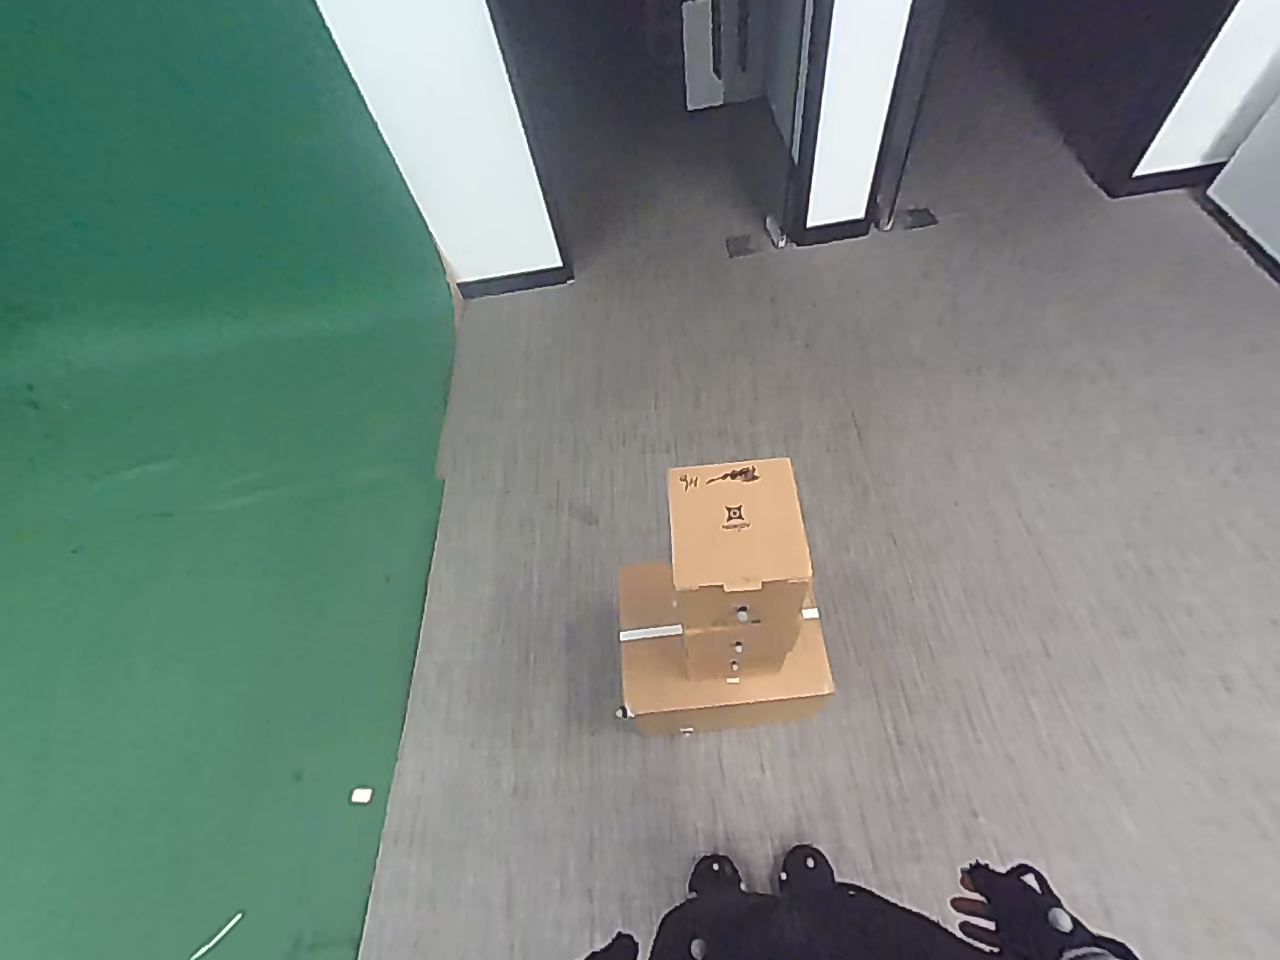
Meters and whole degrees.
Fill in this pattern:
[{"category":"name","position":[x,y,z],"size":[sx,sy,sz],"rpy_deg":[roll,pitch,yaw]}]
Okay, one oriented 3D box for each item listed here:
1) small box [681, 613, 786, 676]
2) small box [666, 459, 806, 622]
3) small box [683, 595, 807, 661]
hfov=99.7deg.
[{"category":"small box","position":[0.169,0.268,1.026],"size":[0.179,0.176,0.168],"rpy_deg":[-6,58,4]},{"category":"small box","position":[0.129,0.093,0.751],"size":[0.168,0.176,0.179],"rpy_deg":[-5,59,7]},{"category":"small box","position":[0.154,0.186,0.884],"size":[0.179,0.176,0.168],"rpy_deg":[-10,58,3]}]
